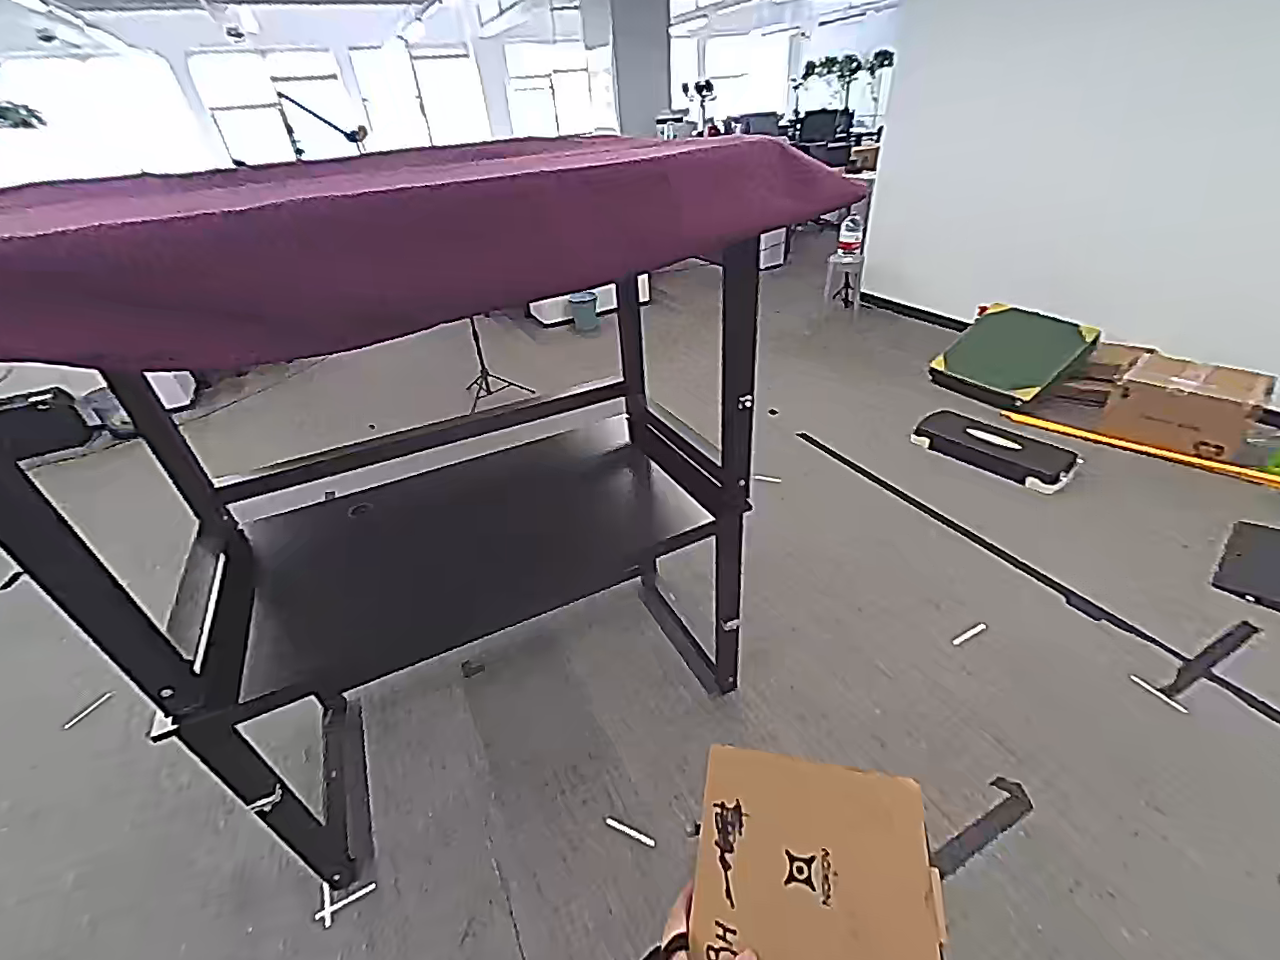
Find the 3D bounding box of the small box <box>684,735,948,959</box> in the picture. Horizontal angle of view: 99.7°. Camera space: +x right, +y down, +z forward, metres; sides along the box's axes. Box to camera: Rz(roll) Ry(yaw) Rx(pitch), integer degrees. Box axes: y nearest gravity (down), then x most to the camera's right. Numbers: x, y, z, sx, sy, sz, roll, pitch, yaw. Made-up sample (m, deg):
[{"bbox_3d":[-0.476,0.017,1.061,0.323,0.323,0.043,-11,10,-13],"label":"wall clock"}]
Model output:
[{"bbox_3d":[0.136,0.347,0.461,0.179,0.176,0.168,5,44,12],"label":"small box"}]
